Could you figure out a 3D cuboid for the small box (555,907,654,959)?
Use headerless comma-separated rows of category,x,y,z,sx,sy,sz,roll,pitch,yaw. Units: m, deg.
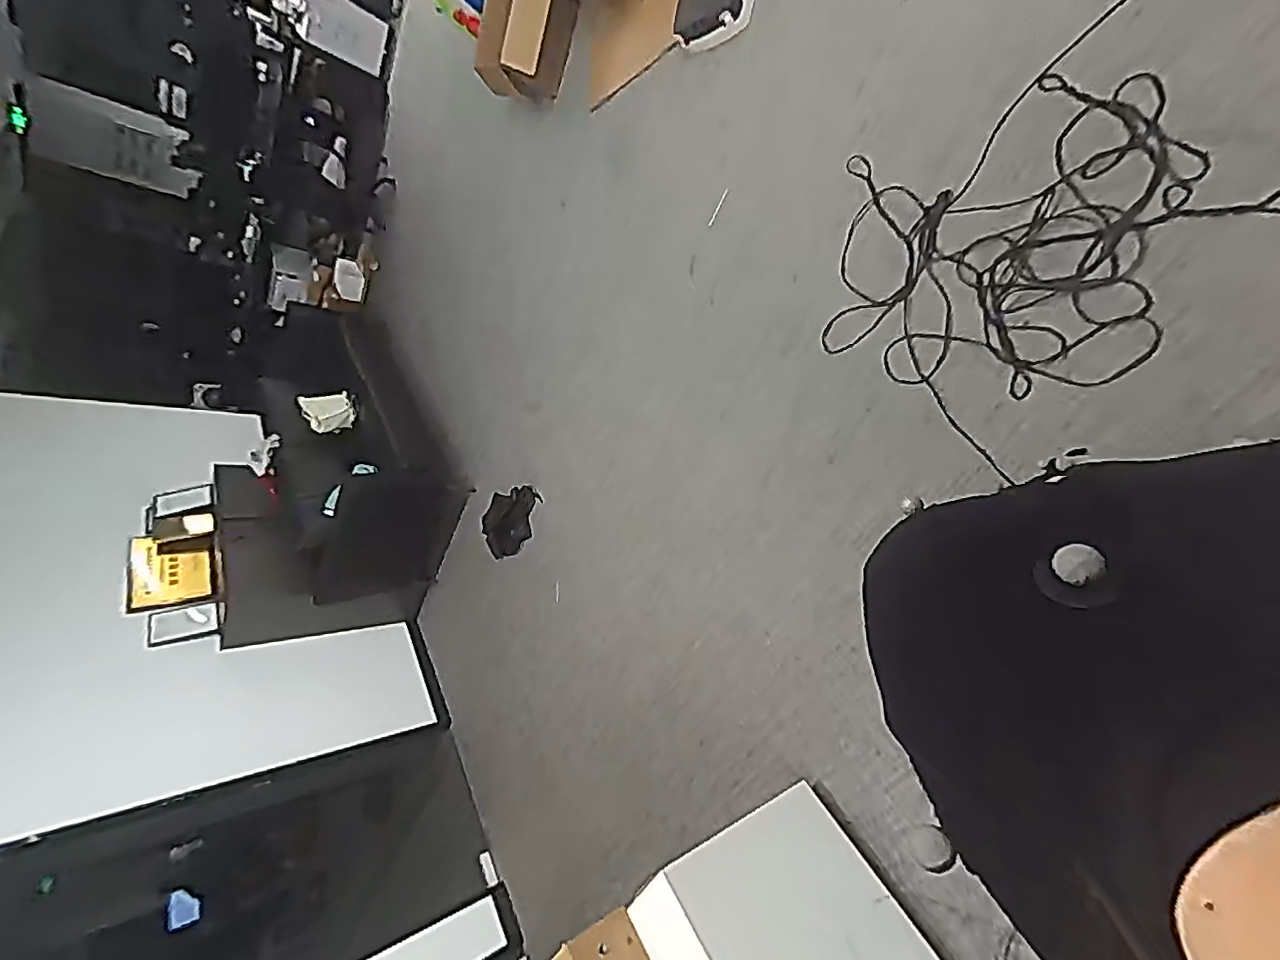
small box,-0.075,1.069,1.155,0.168,0.176,0.179,49,124,38
